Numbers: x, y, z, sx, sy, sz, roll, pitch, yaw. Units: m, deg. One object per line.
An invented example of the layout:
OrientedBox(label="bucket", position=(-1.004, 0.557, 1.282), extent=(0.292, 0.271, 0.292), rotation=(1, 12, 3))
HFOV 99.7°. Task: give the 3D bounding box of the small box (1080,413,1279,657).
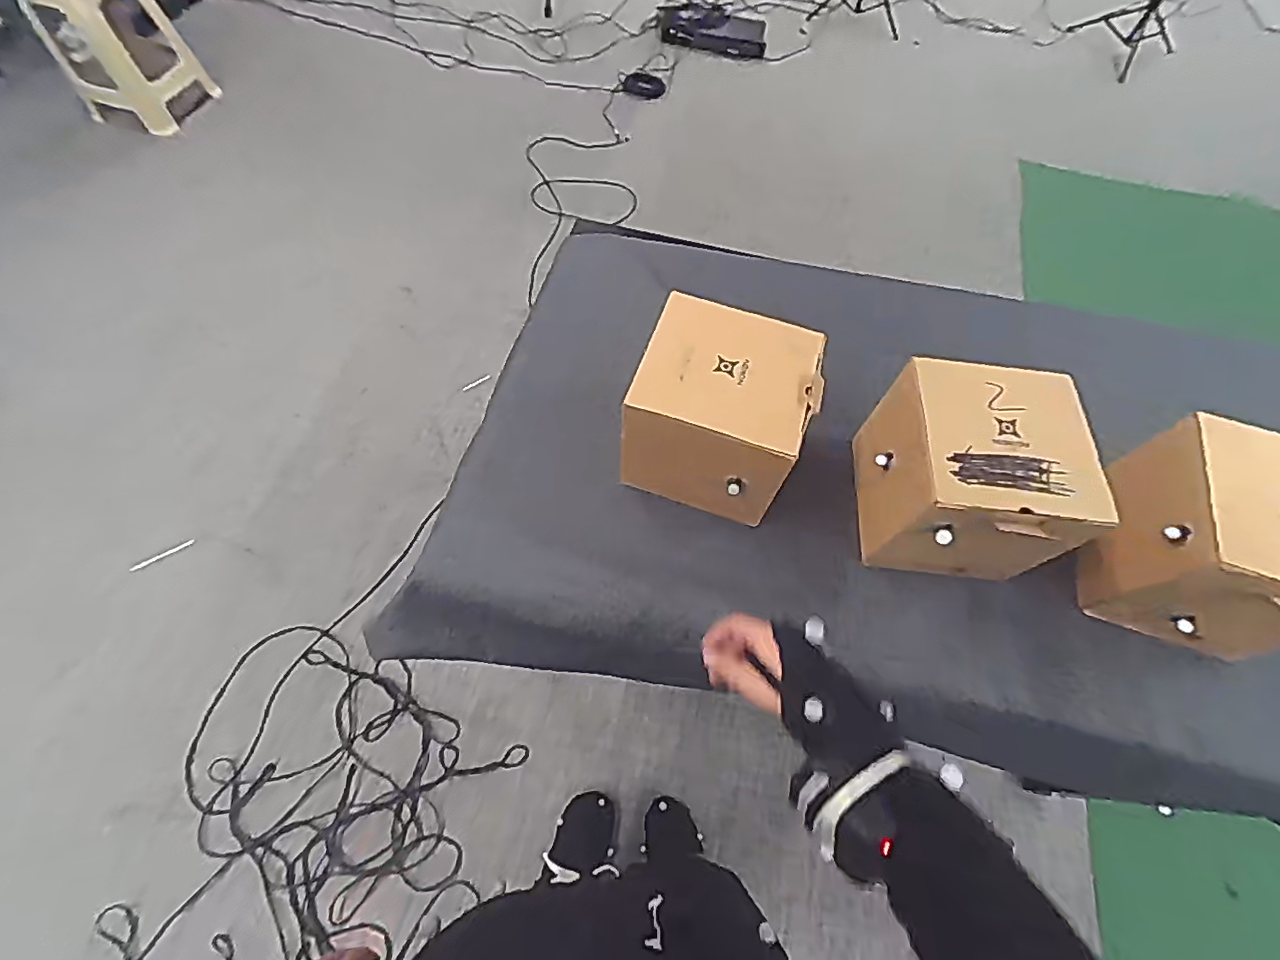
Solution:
OrientedBox(label="small box", position=(0.609, 0.065, 0.571), extent=(0.168, 0.176, 0.179), rotation=(18, 63, 7))

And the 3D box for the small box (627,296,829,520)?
OrientedBox(label="small box", position=(0.092, -0.073, 0.619), extent=(0.179, 0.176, 0.168), rotation=(17, 61, 7))
